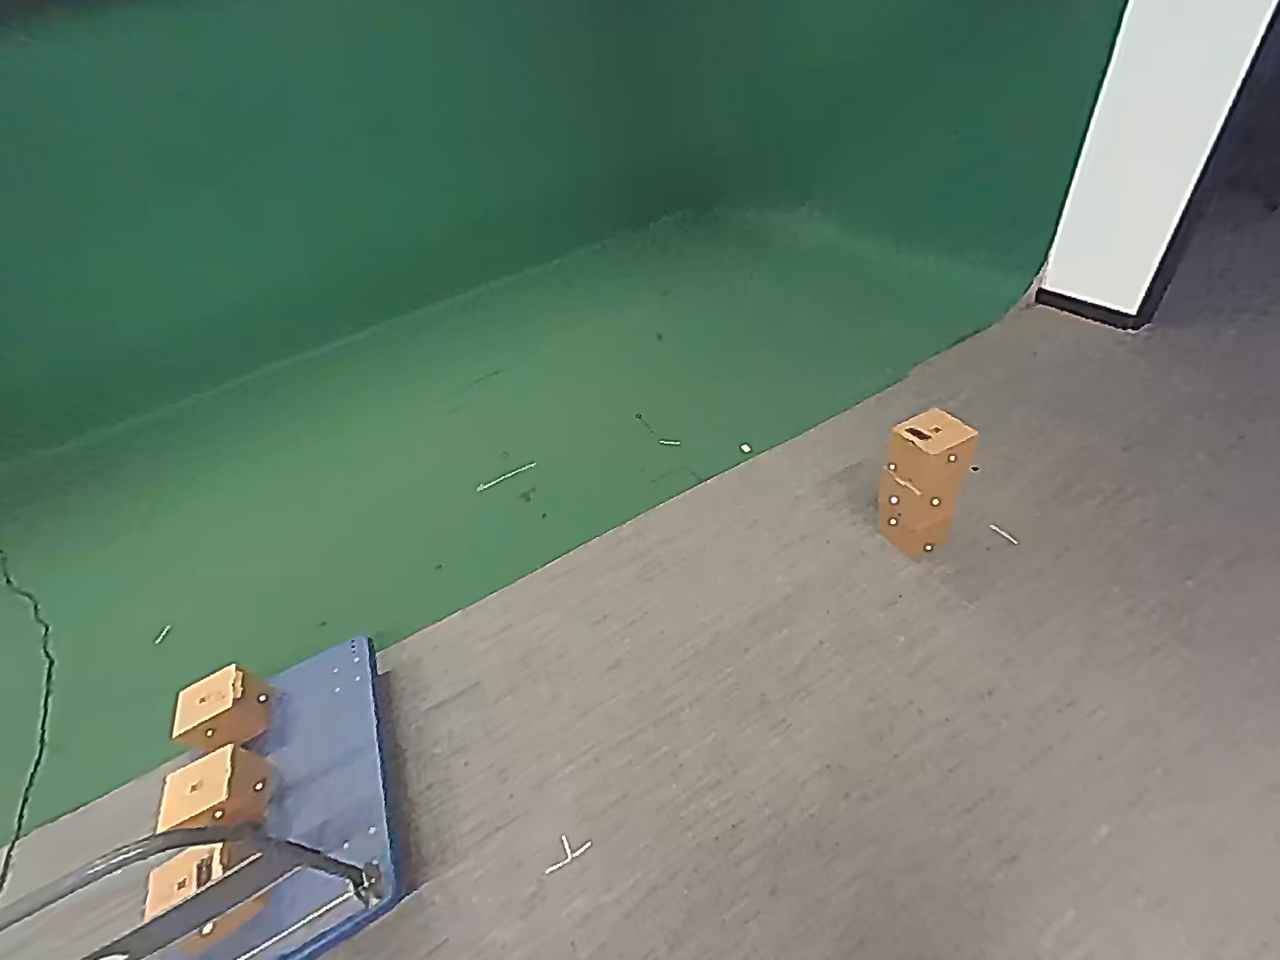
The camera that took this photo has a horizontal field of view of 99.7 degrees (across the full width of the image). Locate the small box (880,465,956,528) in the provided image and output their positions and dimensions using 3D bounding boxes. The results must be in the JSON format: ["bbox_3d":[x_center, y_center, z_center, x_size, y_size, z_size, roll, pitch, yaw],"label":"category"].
[{"bbox_3d":[0.935,0.032,1.819,0.179,0.176,0.168,-25,43,-8],"label":"small box"}]

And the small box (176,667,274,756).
[{"bbox_3d":[-1.290,0.731,1.693,0.179,0.176,0.168,-27,45,-13],"label":"small box"}]

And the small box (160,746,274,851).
[{"bbox_3d":[-1.161,0.886,1.498,0.179,0.176,0.168,-25,43,-13],"label":"small box"}]

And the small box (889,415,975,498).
[{"bbox_3d":[0.916,-0.072,1.715,0.179,0.176,0.168,-24,43,-9],"label":"small box"}]

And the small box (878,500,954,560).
[{"bbox_3d":[0.974,0.150,1.926,0.168,0.176,0.179,-24,43,-8],"label":"small box"}]
